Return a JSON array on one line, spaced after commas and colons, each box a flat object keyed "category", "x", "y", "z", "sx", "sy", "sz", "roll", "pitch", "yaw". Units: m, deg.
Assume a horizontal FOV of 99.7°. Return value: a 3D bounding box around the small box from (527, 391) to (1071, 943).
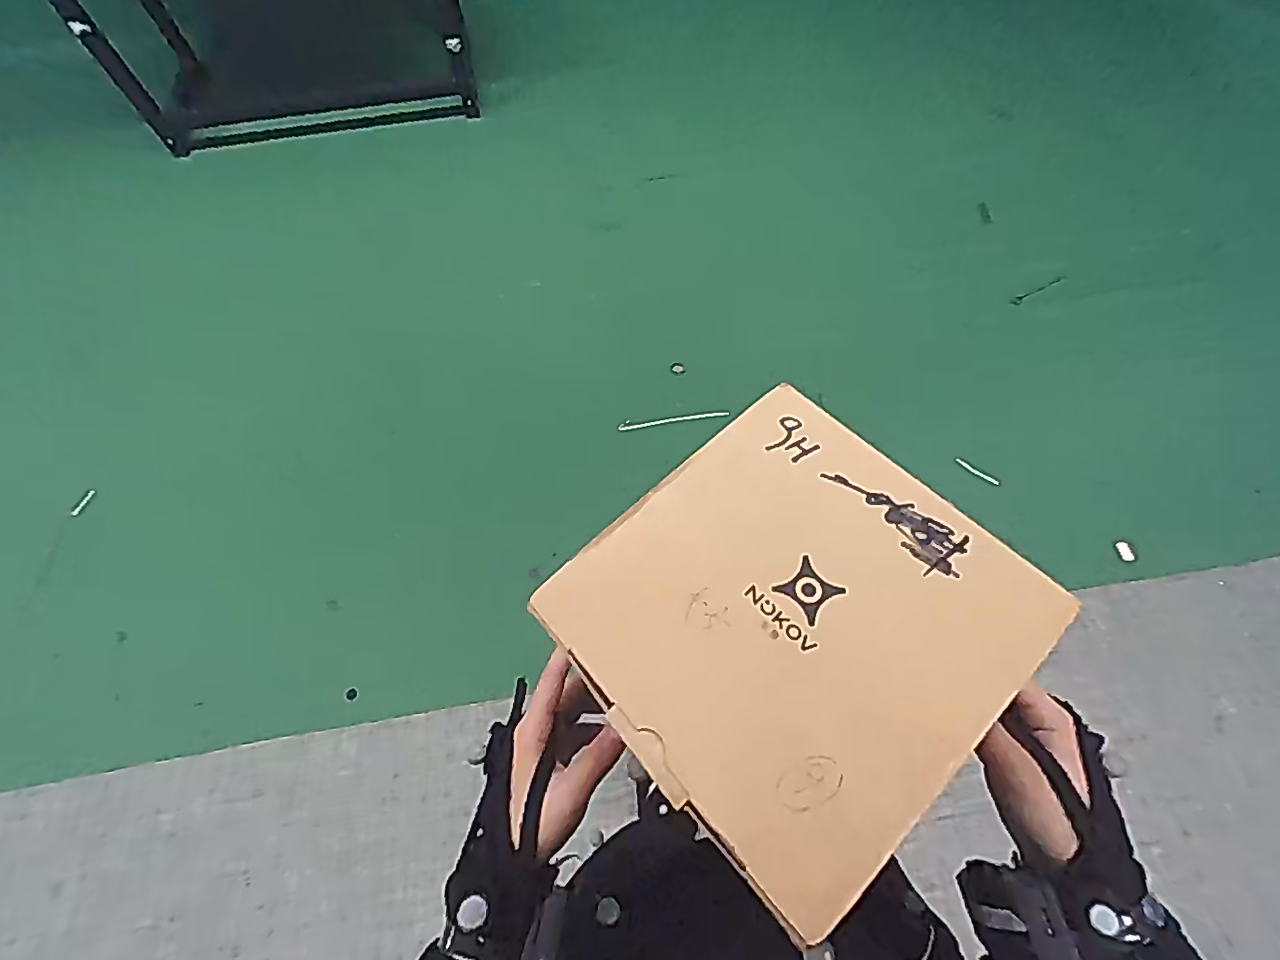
[{"category": "small box", "x": 0.072, "y": 0.092, "z": 0.305, "sx": 0.179, "sy": 0.176, "sz": 0.168, "roll": -40, "pitch": 65, "yaw": -14}]
